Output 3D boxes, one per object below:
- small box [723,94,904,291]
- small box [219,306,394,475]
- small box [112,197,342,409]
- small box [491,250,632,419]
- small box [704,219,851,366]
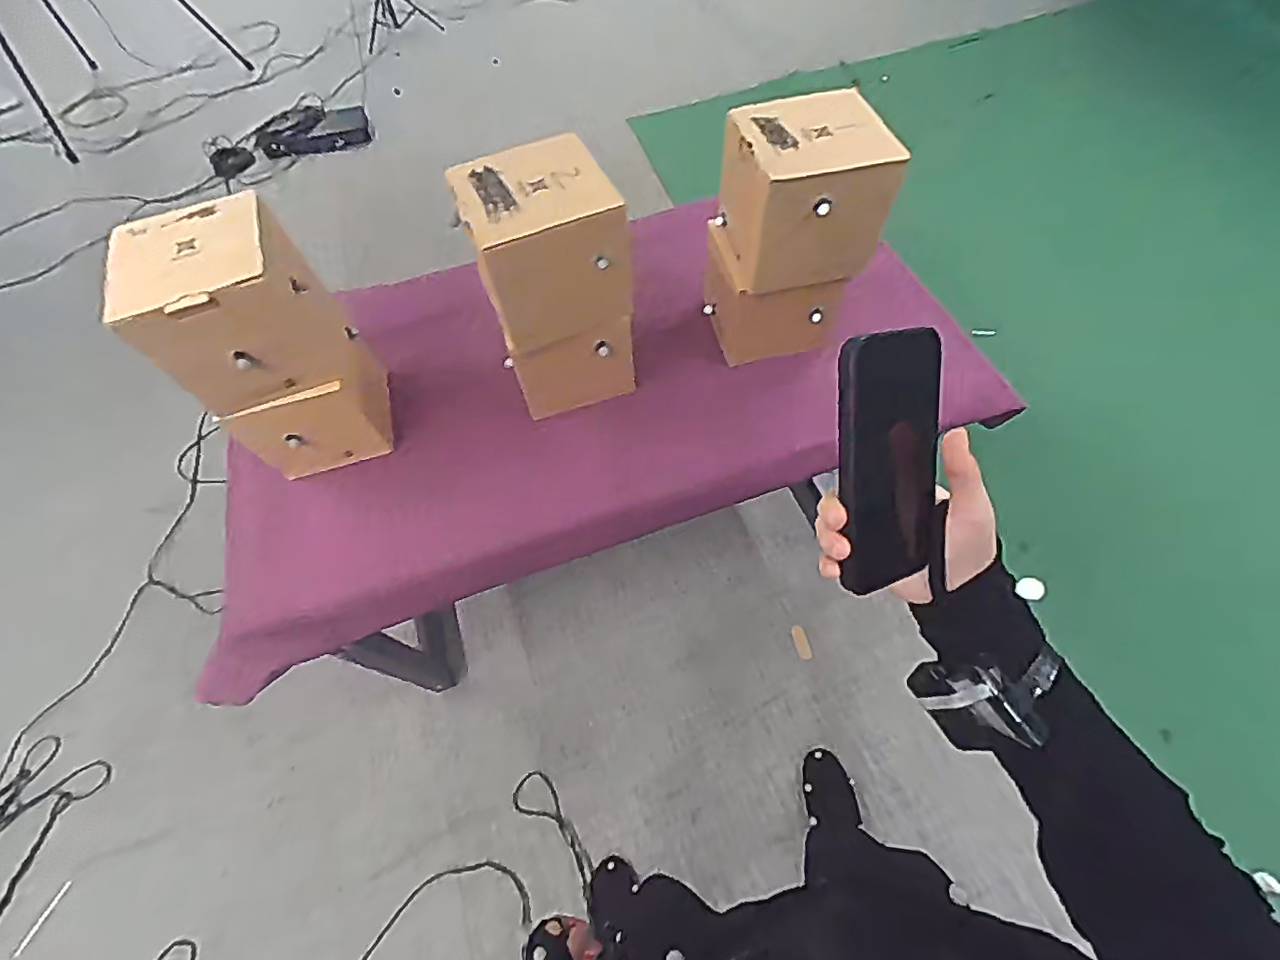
[{"bbox_3d":[0.216,-0.381,0.735,0.179,0.176,0.168,-12,61,-4],"label":"small box"},{"bbox_3d":[-0.493,-0.126,0.824,0.168,0.176,0.179,-17,61,-6],"label":"small box"},{"bbox_3d":[-0.505,-0.212,0.684,0.168,0.176,0.179,-21,63,-9],"label":"small box"},{"bbox_3d":[-0.116,-0.224,0.854,0.179,0.176,0.168,-17,61,-6],"label":"small box"},{"bbox_3d":[0.211,-0.312,0.884,0.179,0.176,0.168,-12,61,-3],"label":"small box"}]
